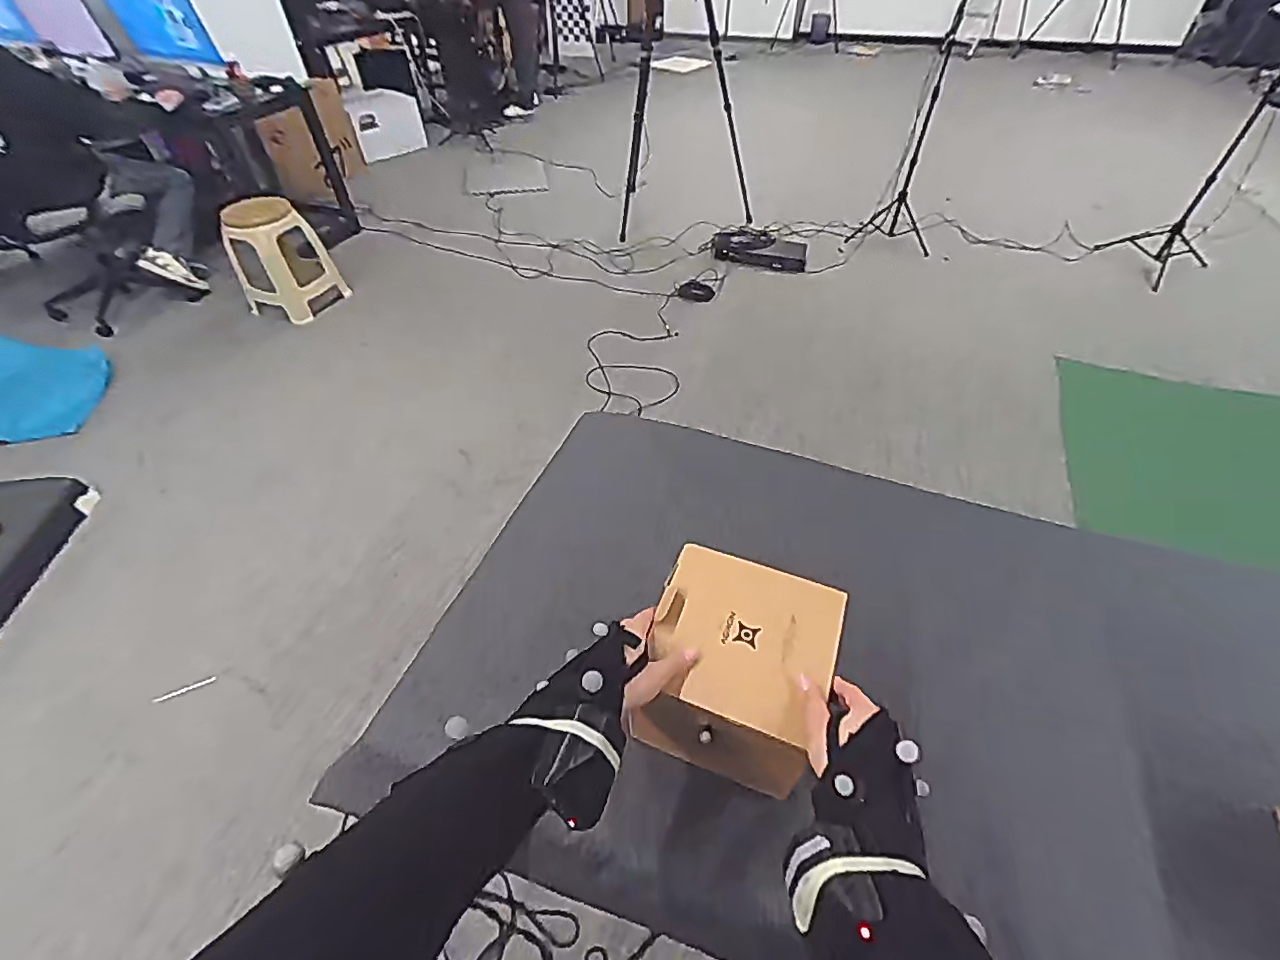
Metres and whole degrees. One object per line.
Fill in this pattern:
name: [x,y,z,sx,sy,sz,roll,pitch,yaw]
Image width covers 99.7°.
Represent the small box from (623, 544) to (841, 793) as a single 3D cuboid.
small box: [0.093,0.201,0.573,0.179,0.176,0.168,17,50,14]
